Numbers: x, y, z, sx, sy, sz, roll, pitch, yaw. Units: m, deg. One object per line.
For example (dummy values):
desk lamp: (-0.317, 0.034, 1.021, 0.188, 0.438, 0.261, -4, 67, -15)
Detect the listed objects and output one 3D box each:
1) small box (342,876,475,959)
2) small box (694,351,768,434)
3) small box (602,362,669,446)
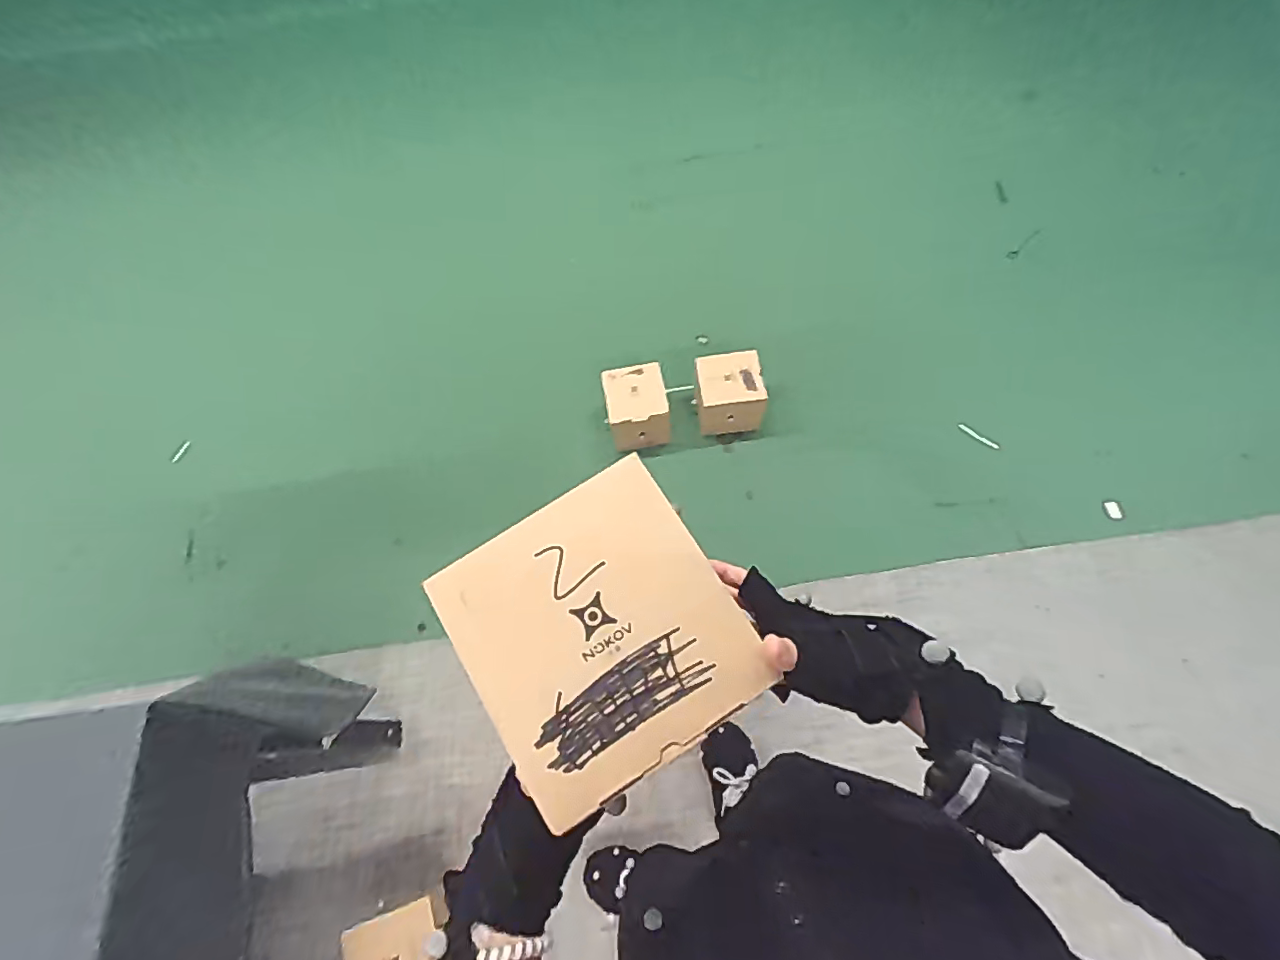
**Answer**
small box: (-0.453, 0.929, 1.072, 0.179, 0.176, 0.168, -20, 67, -5)
small box: (0.254, -0.248, 1.554, 0.179, 0.176, 0.168, -7, 66, 1)
small box: (-0.010, -0.210, 1.553, 0.168, 0.176, 0.179, -10, 67, -1)
